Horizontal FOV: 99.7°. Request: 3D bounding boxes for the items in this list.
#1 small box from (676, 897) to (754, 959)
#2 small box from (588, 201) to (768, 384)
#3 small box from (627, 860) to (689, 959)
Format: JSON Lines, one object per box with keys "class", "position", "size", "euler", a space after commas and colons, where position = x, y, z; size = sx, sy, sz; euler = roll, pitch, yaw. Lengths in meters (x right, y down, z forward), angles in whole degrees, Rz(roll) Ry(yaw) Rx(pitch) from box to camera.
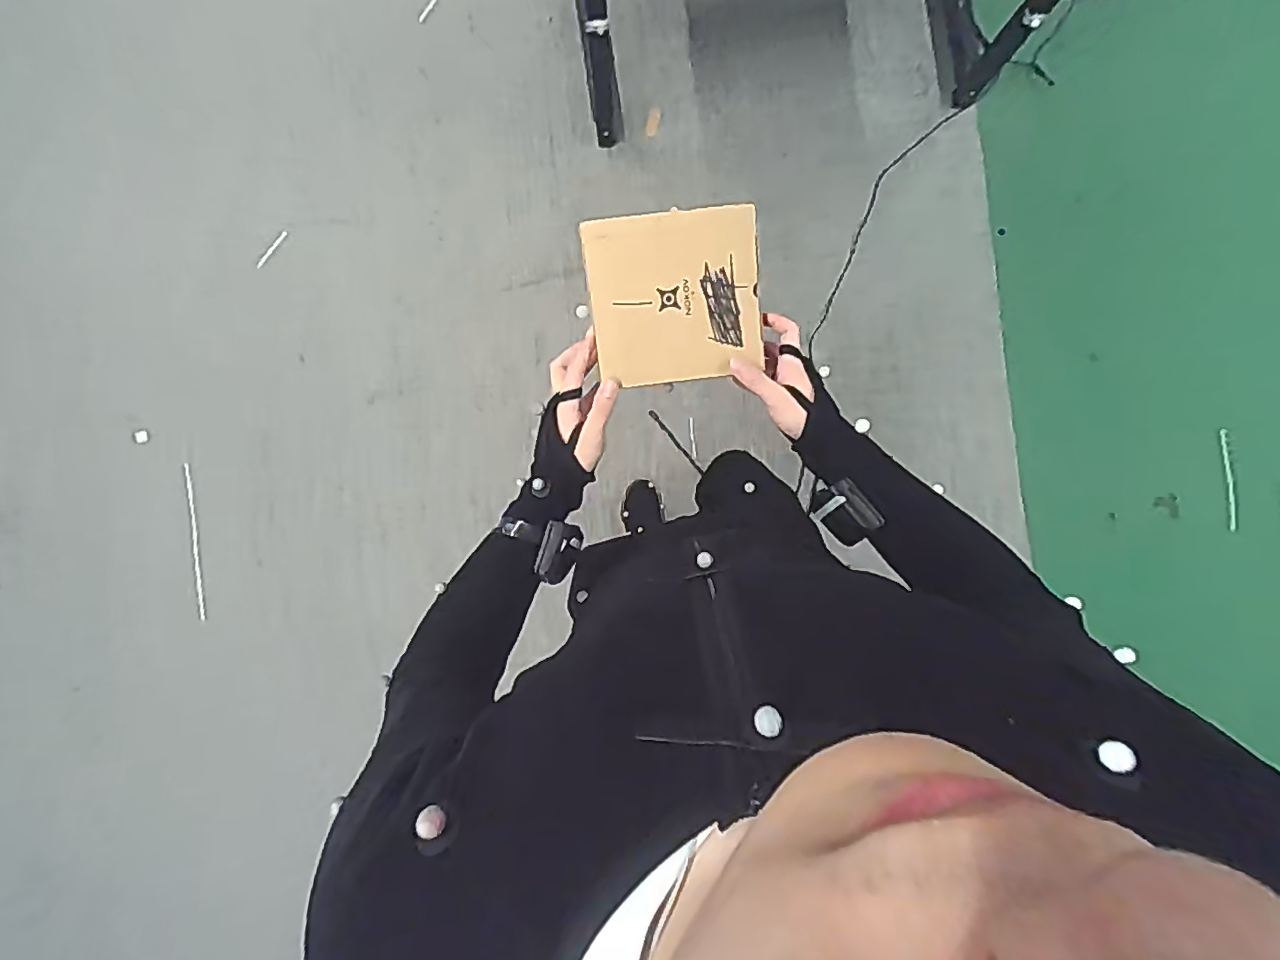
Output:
{"class": "small box", "position": [0.190, 1.192, 1.358], "size": [0.179, 0.176, 0.168], "euler": [-8, 88, 1]}
{"class": "small box", "position": [0.035, -0.205, 0.620], "size": [0.179, 0.176, 0.168], "euler": [-7, 103, -3]}
{"class": "small box", "position": [0.053, 1.206, 1.519], "size": [0.168, 0.176, 0.179], "euler": [-6, 89, -1]}
